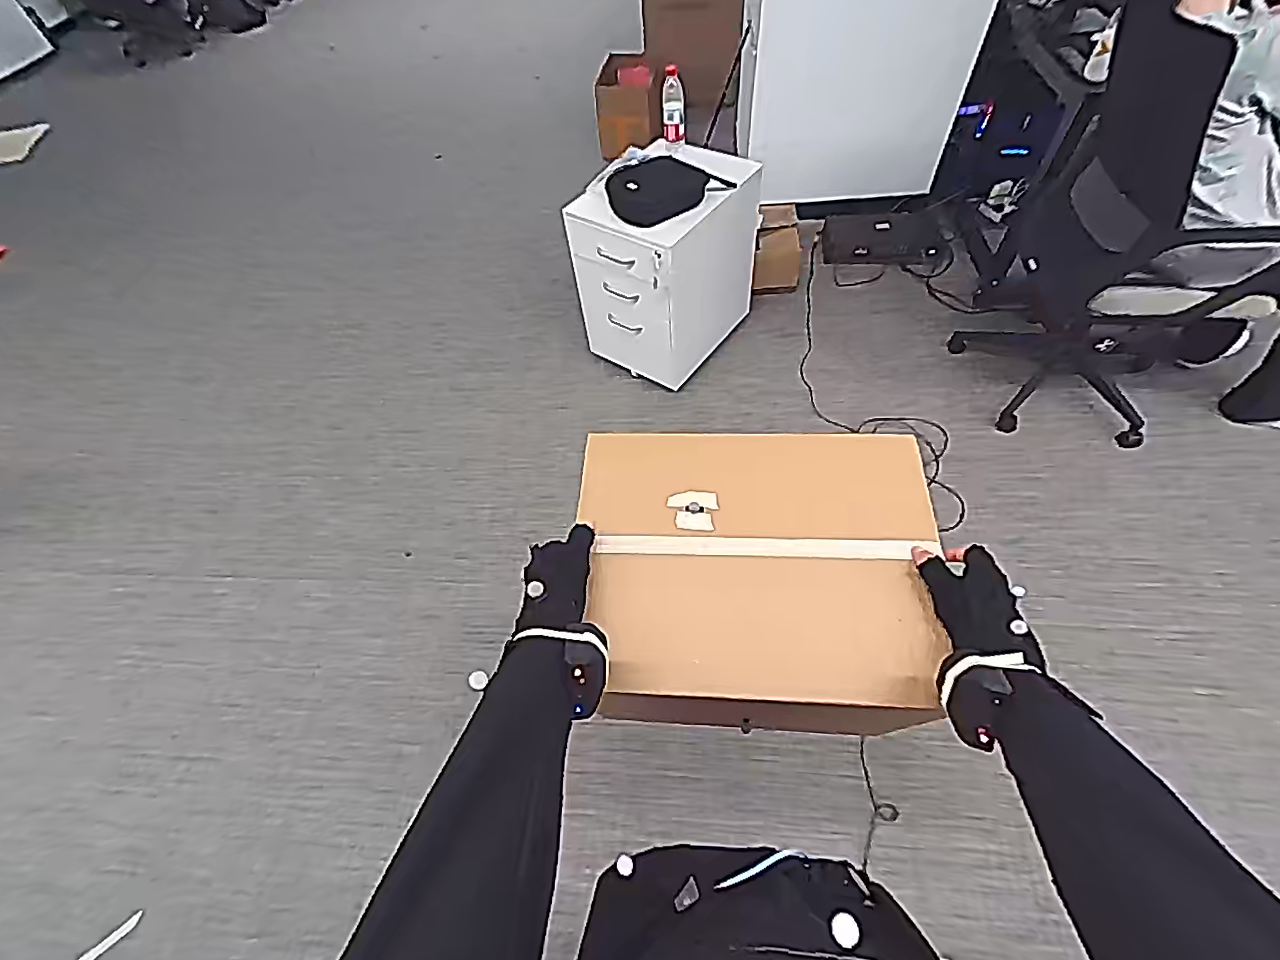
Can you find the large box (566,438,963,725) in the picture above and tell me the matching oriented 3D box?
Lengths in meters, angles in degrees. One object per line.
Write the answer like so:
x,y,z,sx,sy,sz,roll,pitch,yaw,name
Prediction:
0.142,0.155,0.745,0.408,0.320,0.320,0,60,7,large box
